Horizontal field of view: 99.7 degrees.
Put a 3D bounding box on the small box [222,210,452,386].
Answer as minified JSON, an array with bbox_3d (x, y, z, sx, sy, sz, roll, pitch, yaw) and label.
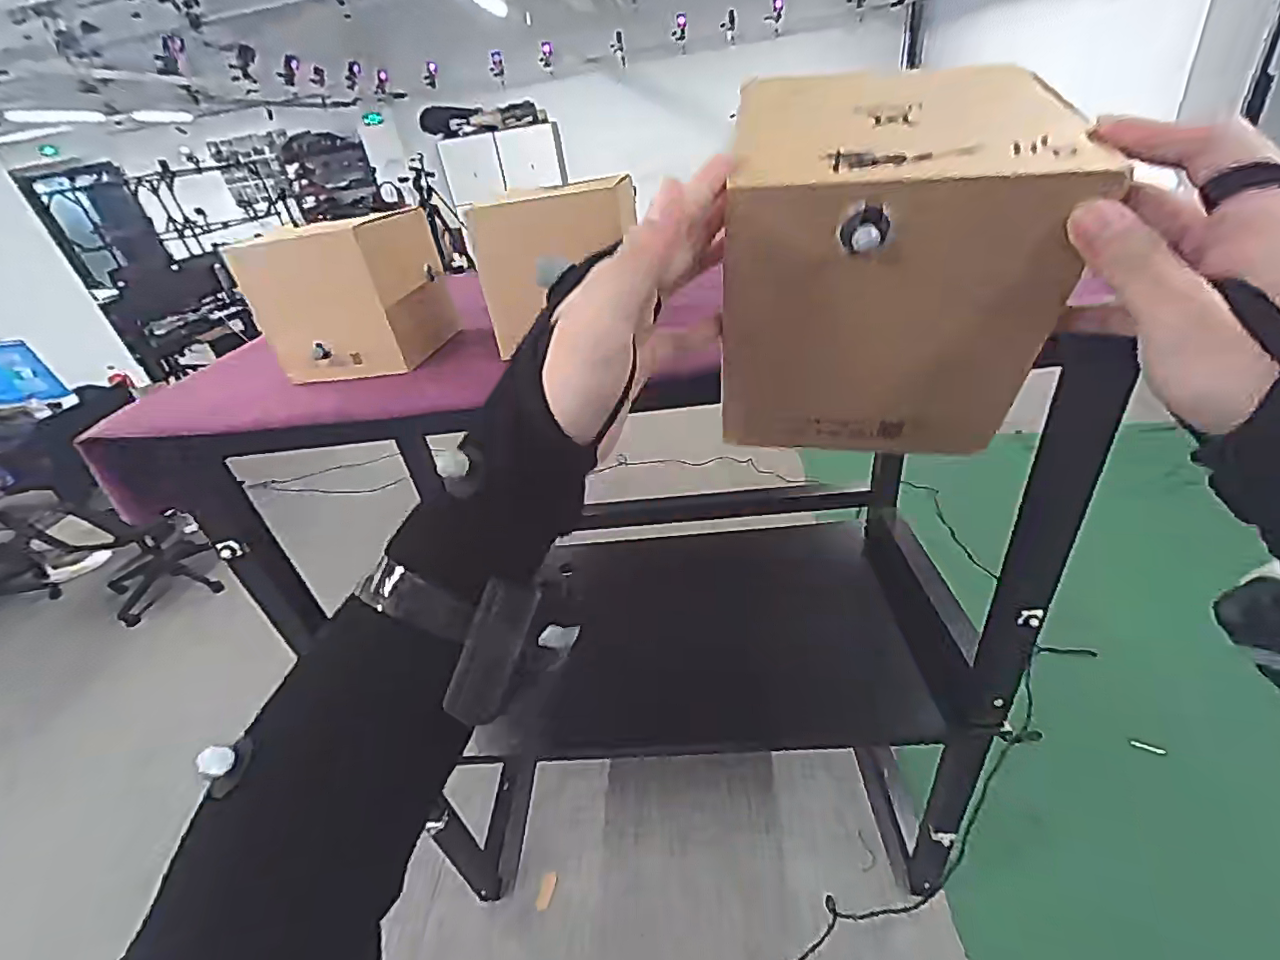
[{"bbox_3d":[-0.363,-0.234,0.693,0.168,0.176,0.179,-4,33,10],"label":"small box"}]

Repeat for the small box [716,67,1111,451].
[{"bbox_3d":[0.138,-0.141,0.351,0.168,0.176,0.179,3,48,11],"label":"small box"}]

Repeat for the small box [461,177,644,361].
[{"bbox_3d":[-0.089,-0.258,0.658,0.168,0.176,0.179,-4,33,8],"label":"small box"}]
